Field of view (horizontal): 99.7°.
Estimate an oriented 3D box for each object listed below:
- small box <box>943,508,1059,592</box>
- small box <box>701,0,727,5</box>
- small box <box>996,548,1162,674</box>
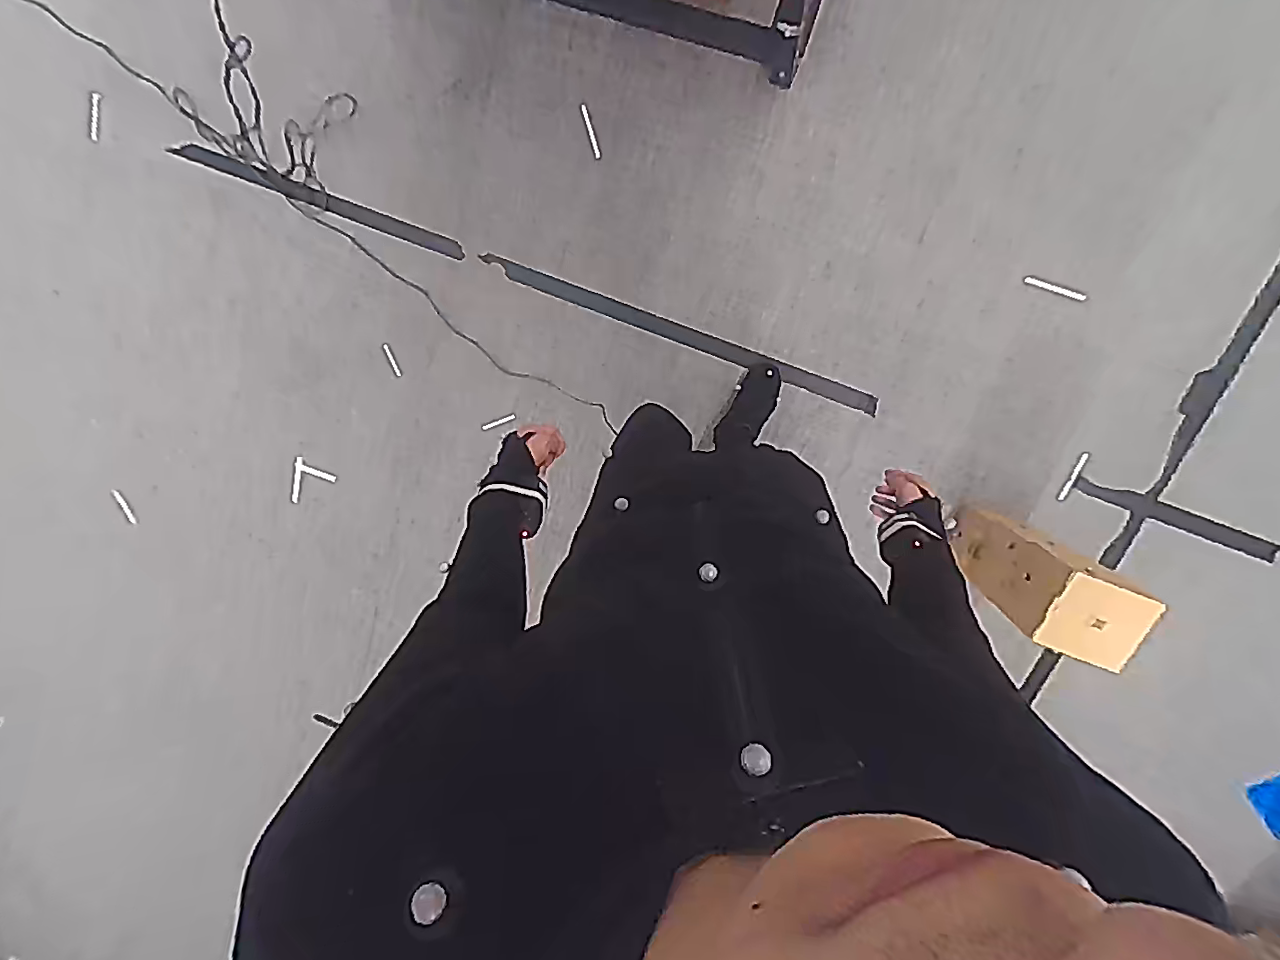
[{"bbox_3d":[0.951,0.190,1.443,0.179,0.176,0.168,18,106,7],"label":"small box"},{"bbox_3d":[0.159,-1.261,1.257,0.179,0.176,0.168,22,105,6],"label":"small box"},{"bbox_3d":[0.898,0.263,1.127,0.179,0.176,0.168,21,107,6],"label":"small box"}]
